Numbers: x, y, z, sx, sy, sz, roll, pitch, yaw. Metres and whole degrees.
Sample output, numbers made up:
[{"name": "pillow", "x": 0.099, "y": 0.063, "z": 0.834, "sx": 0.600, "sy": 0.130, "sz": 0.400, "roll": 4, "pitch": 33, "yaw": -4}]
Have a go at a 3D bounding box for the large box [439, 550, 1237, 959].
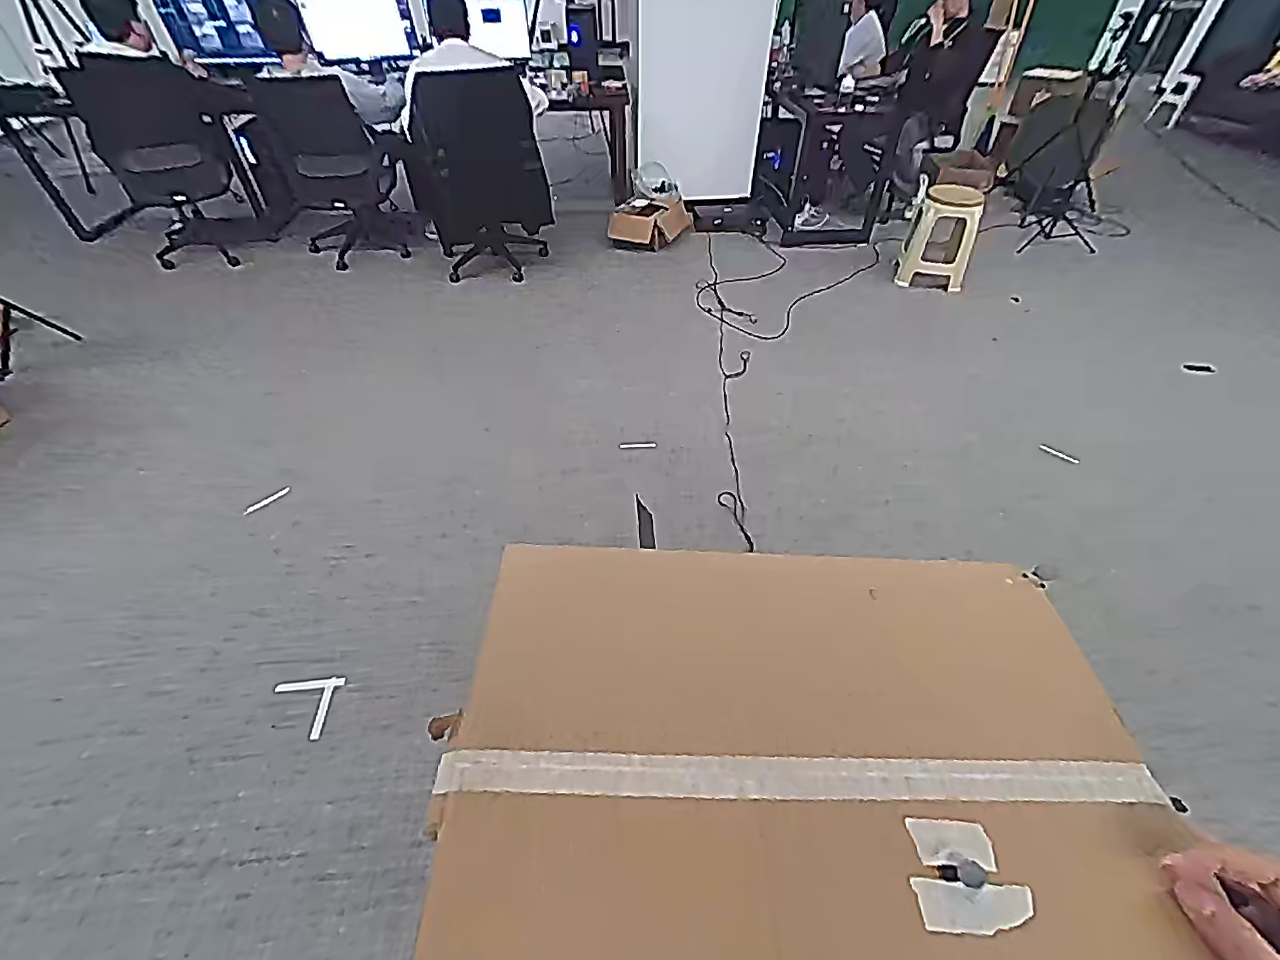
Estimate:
[{"name": "large box", "x": 0.090, "y": 0.275, "z": 0.428, "sx": 0.408, "sy": 0.320, "sz": 0.320, "roll": 3, "pitch": 47, "yaw": -3}]
